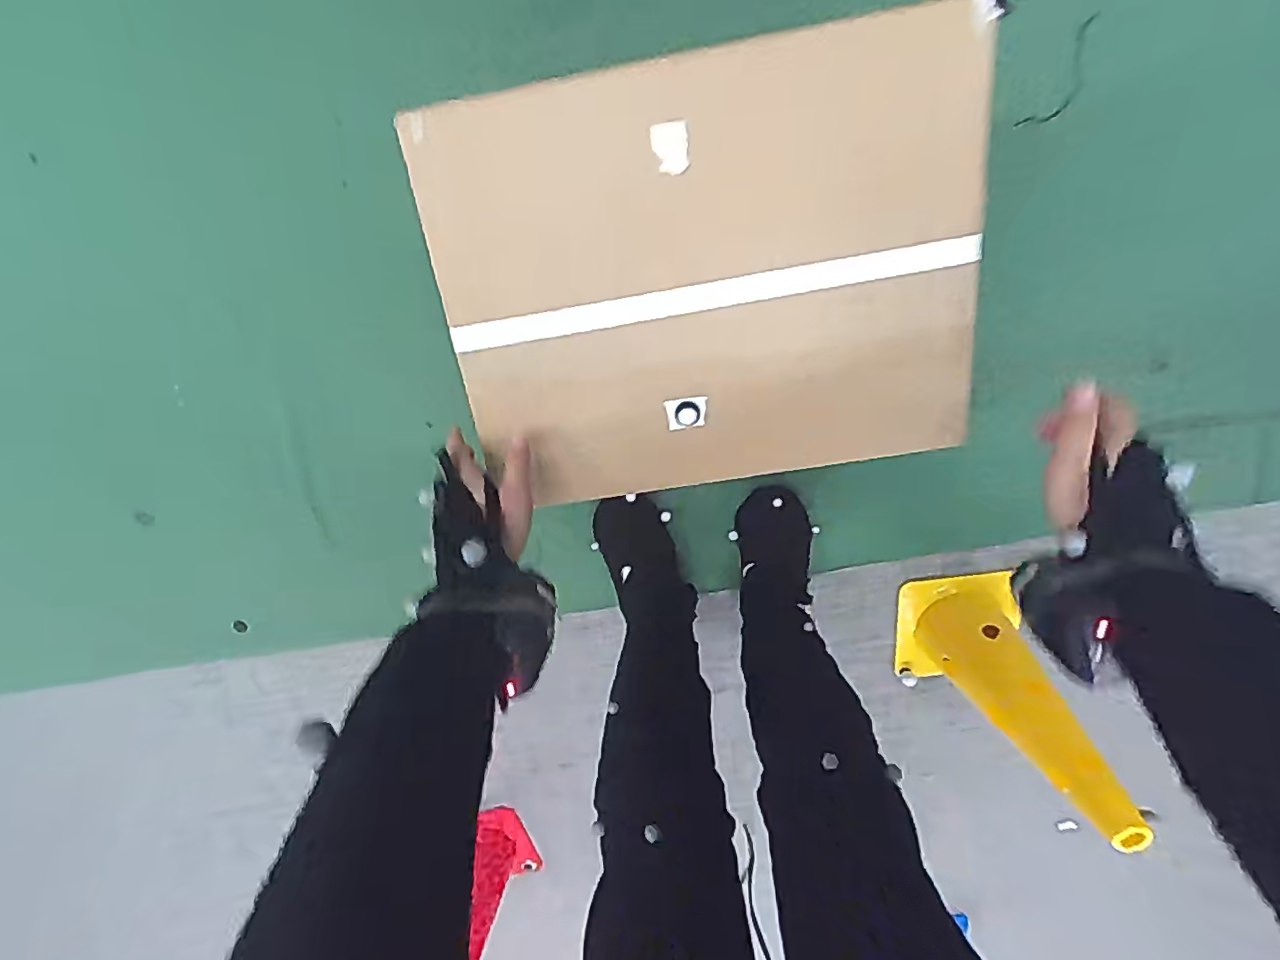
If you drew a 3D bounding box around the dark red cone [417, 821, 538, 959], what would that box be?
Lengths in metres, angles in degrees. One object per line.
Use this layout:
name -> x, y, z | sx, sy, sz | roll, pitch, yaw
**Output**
dark red cone -> -0.331, 0.823, 0.938 | 0.202, 0.394, 0.201 | -17, 108, 8
